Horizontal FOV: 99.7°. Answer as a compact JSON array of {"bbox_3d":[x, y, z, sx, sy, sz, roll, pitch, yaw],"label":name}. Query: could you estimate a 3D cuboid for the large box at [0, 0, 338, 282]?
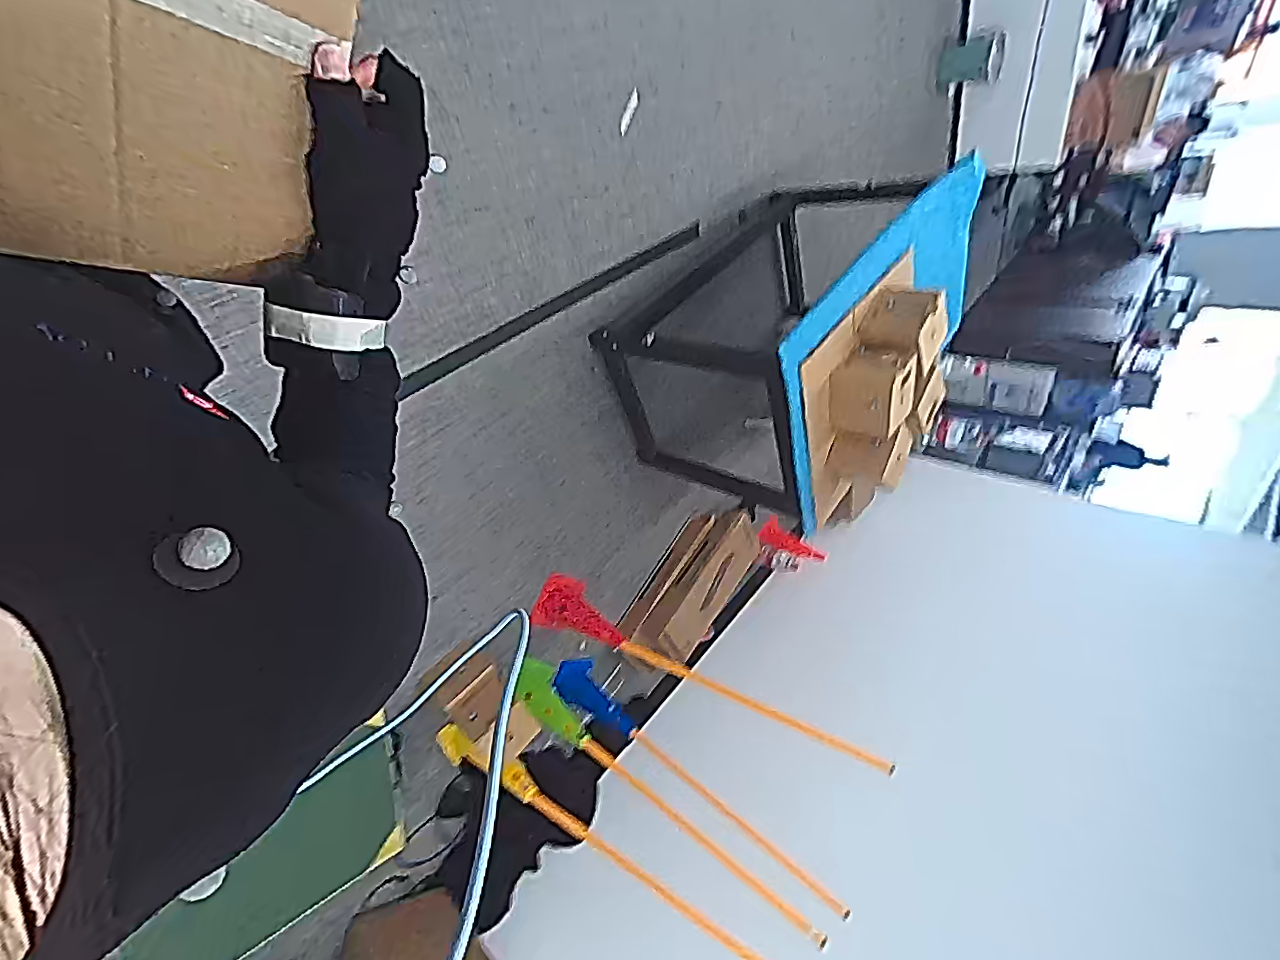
[{"bbox_3d":[-0.401,-0.333,0.238,0.408,0.320,0.320,-9,145,-45],"label":"large box"}]
